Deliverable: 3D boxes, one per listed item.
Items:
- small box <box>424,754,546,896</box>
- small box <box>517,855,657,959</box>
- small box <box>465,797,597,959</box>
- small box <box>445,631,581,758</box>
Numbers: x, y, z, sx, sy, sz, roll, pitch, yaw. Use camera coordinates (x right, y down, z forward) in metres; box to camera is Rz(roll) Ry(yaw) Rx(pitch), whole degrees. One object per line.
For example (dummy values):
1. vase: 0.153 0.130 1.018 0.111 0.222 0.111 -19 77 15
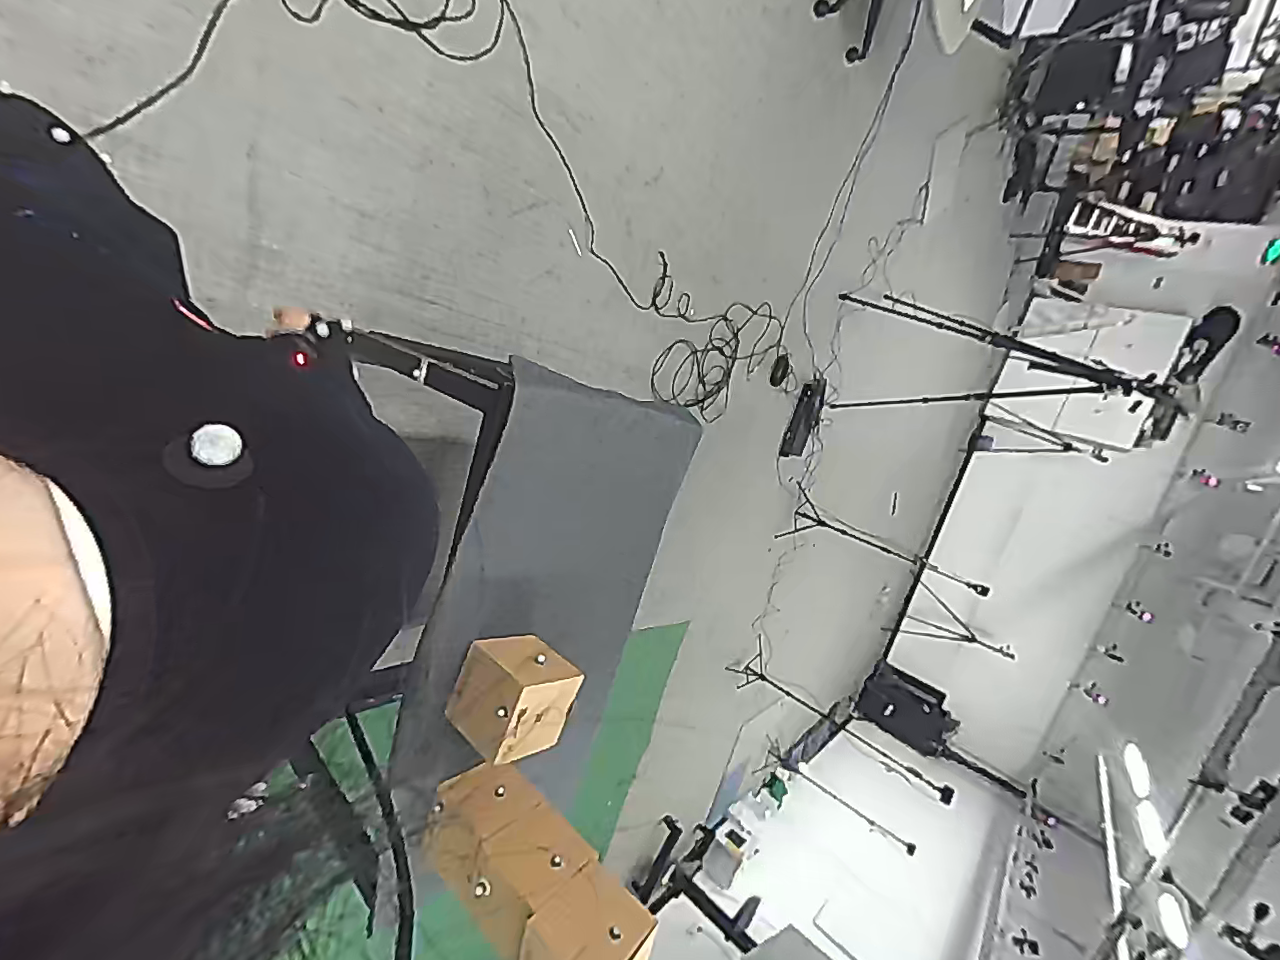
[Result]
1. small box: -0.339 0.732 1.176 0.179 0.176 0.168 2 108 -55
2. small box: -0.099 0.841 0.982 0.179 0.176 0.168 -8 114 -52
3. small box: -0.219 0.785 1.082 0.179 0.176 0.168 -3 111 -52
4. small box: -0.258 0.421 1.102 0.179 0.176 0.168 17 96 -56
